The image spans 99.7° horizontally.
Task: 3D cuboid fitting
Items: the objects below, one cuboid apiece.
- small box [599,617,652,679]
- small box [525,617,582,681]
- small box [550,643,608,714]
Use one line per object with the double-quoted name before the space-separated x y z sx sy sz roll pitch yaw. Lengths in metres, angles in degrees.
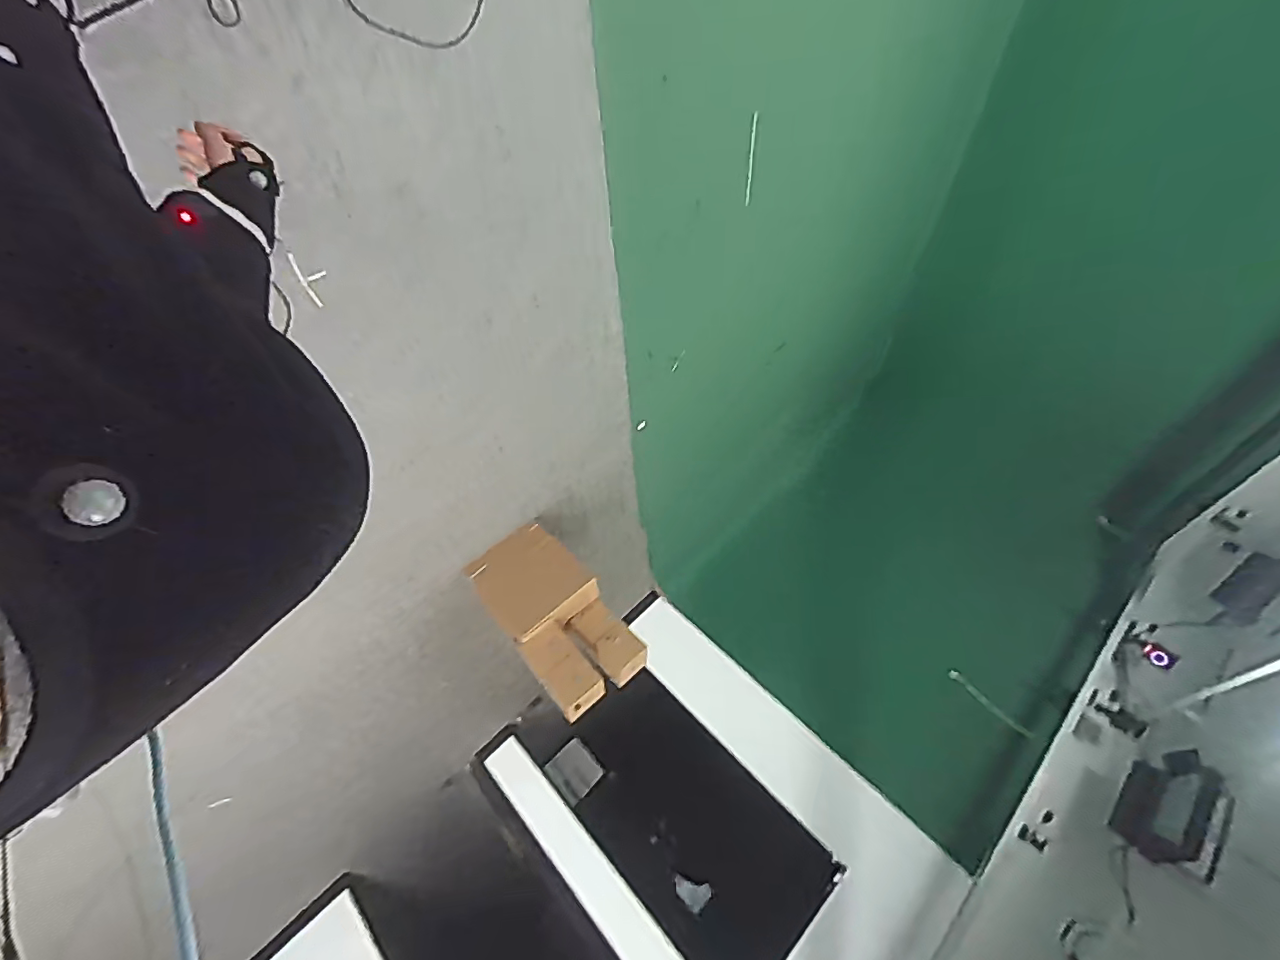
"small box" -0.067 0.741 2.398 0.168 0.176 0.179 -35 147 -29
"small box" -0.360 0.714 2.287 0.179 0.176 0.168 -36 145 -26
"small box" -0.252 0.807 2.206 0.179 0.176 0.168 -35 147 -27
